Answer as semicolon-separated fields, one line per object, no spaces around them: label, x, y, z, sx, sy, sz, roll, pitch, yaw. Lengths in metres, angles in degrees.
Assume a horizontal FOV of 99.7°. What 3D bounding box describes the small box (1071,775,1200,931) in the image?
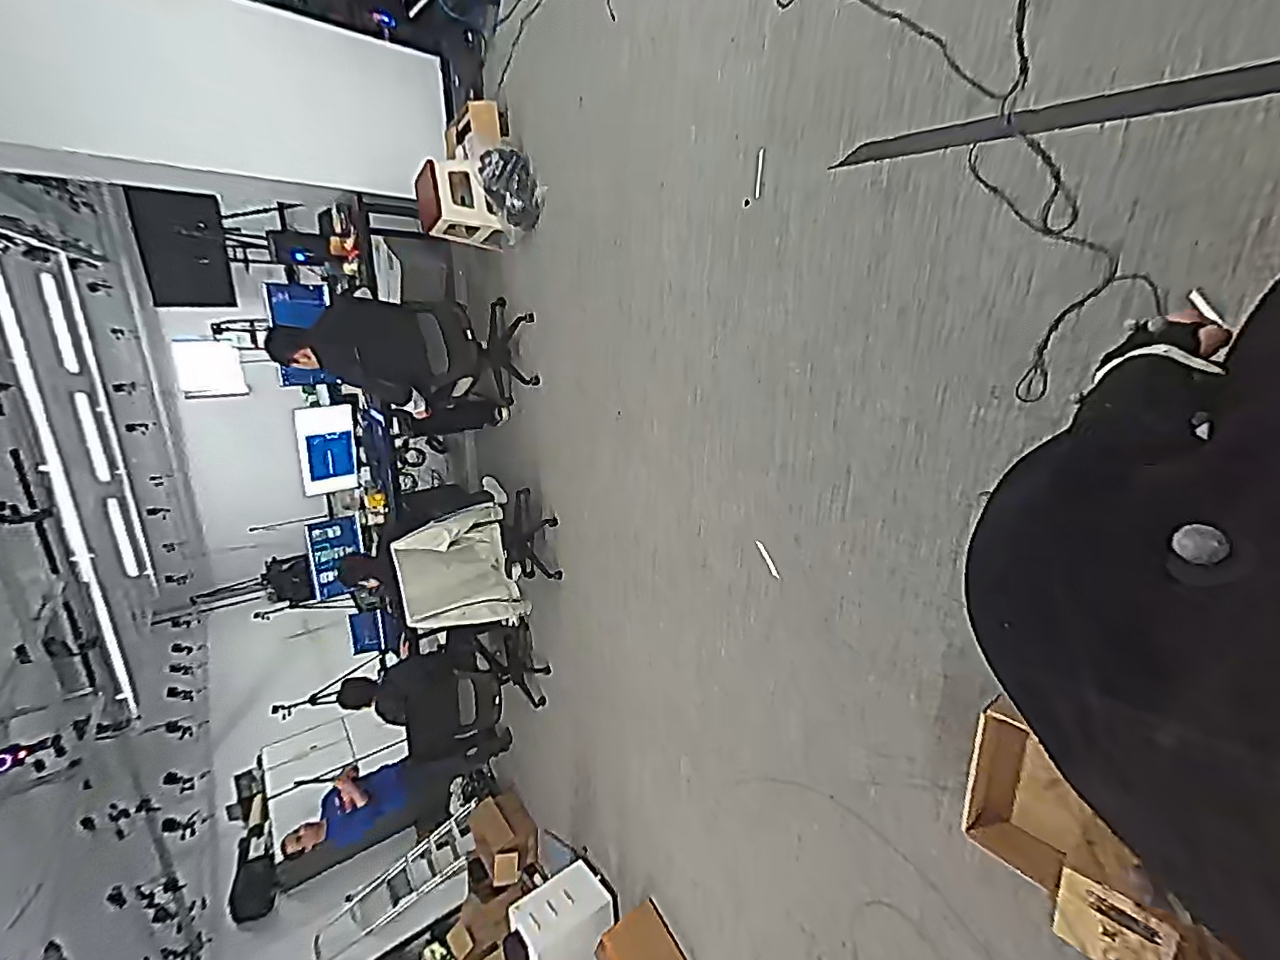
small box;1.063;0.787;1.160;0.168;0.176;0.179;15;112;50
